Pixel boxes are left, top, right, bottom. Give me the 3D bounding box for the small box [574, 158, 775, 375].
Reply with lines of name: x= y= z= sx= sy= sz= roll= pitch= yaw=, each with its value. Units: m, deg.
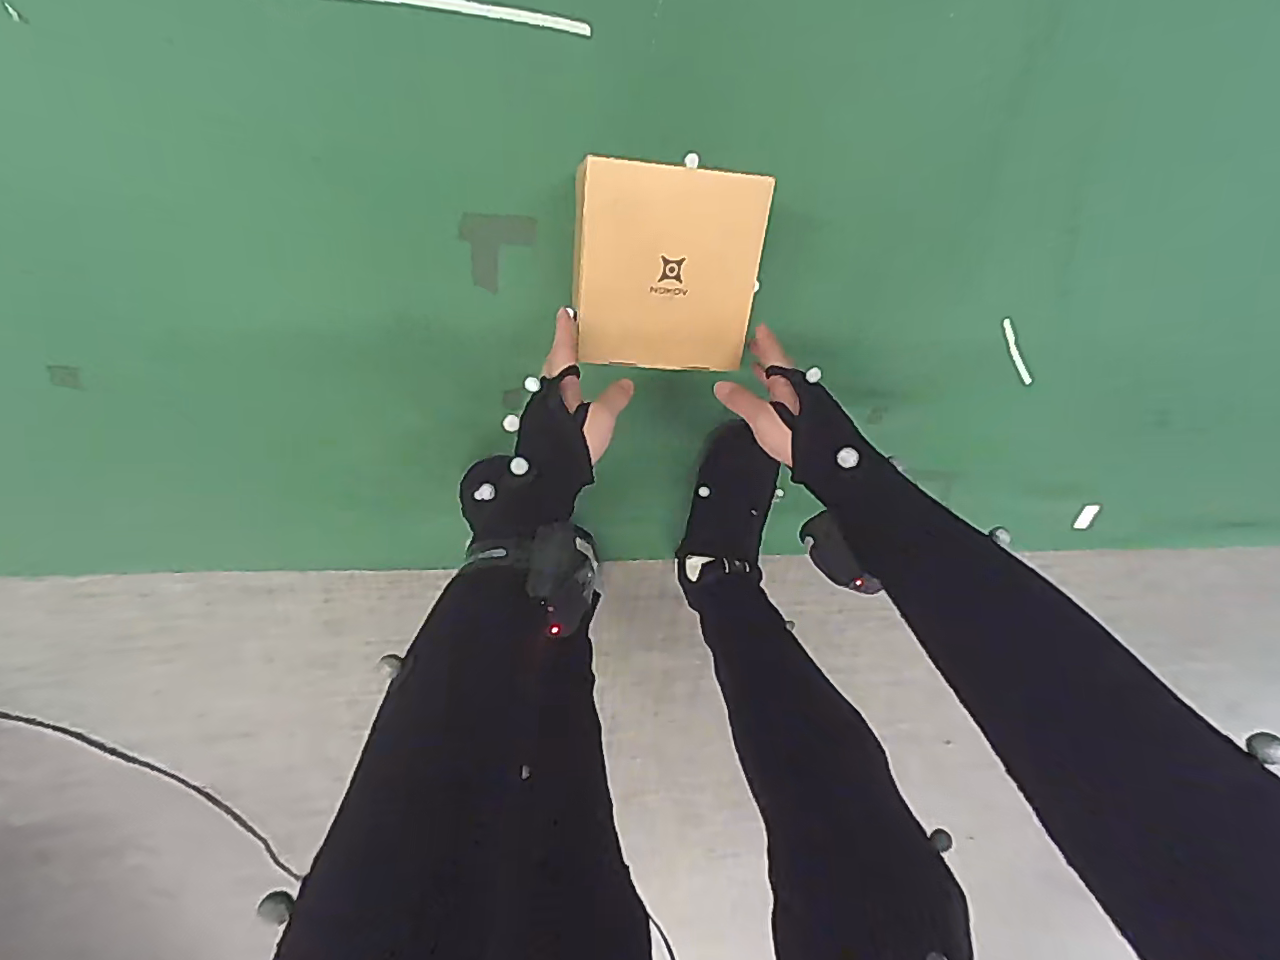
small box: x=0.019 y=-0.223 z=0.564 sx=0.168 sy=0.176 sz=0.179 roll=1 pitch=119 yaw=-9
